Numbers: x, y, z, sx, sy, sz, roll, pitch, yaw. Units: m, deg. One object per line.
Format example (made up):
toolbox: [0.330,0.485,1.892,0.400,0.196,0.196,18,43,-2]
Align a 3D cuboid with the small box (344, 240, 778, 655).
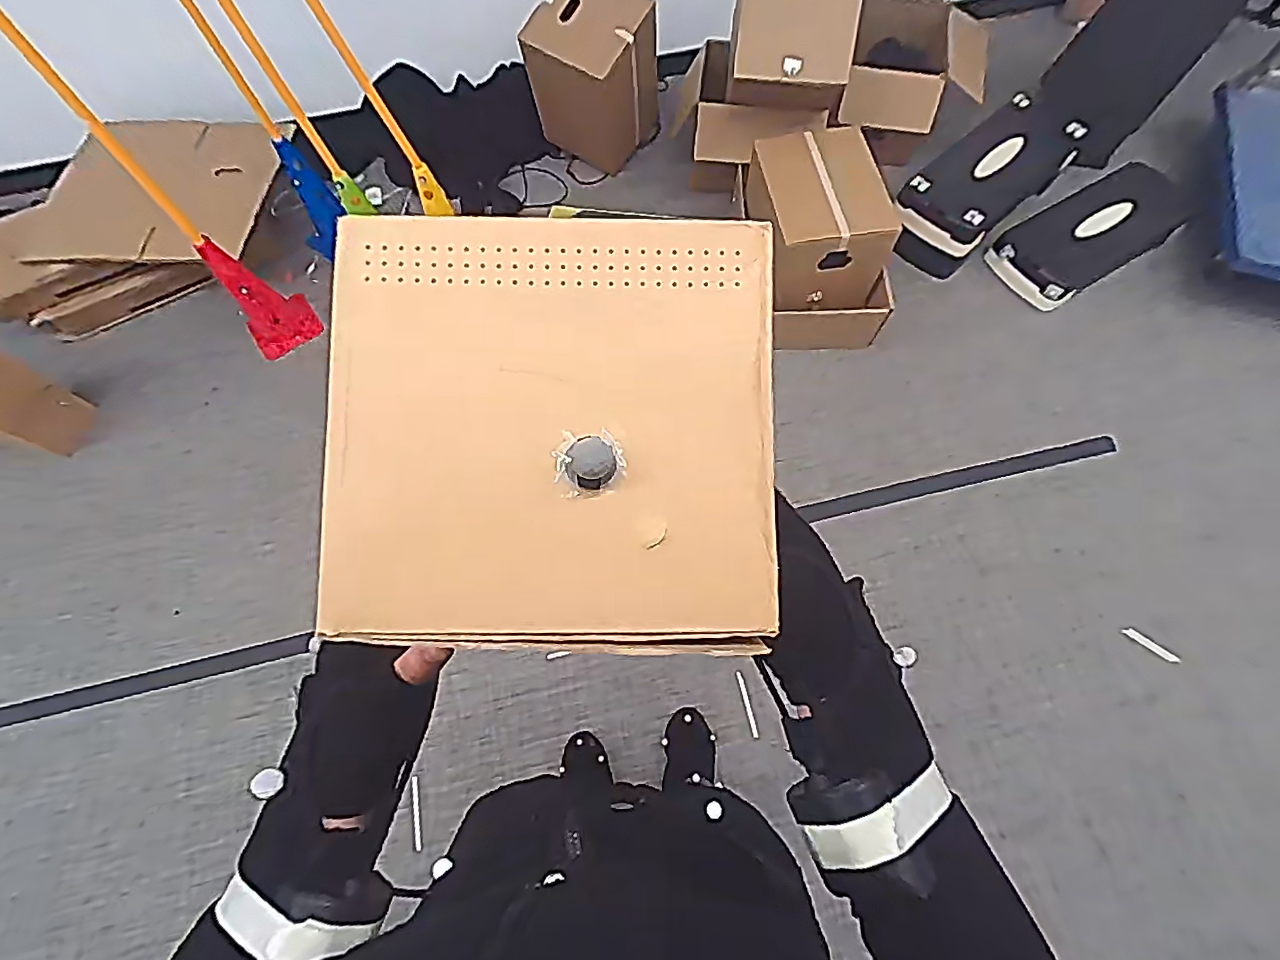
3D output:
small box: [-0.035,-0.012,0.295,0.179,0.168,0.176,0,85,-1]
